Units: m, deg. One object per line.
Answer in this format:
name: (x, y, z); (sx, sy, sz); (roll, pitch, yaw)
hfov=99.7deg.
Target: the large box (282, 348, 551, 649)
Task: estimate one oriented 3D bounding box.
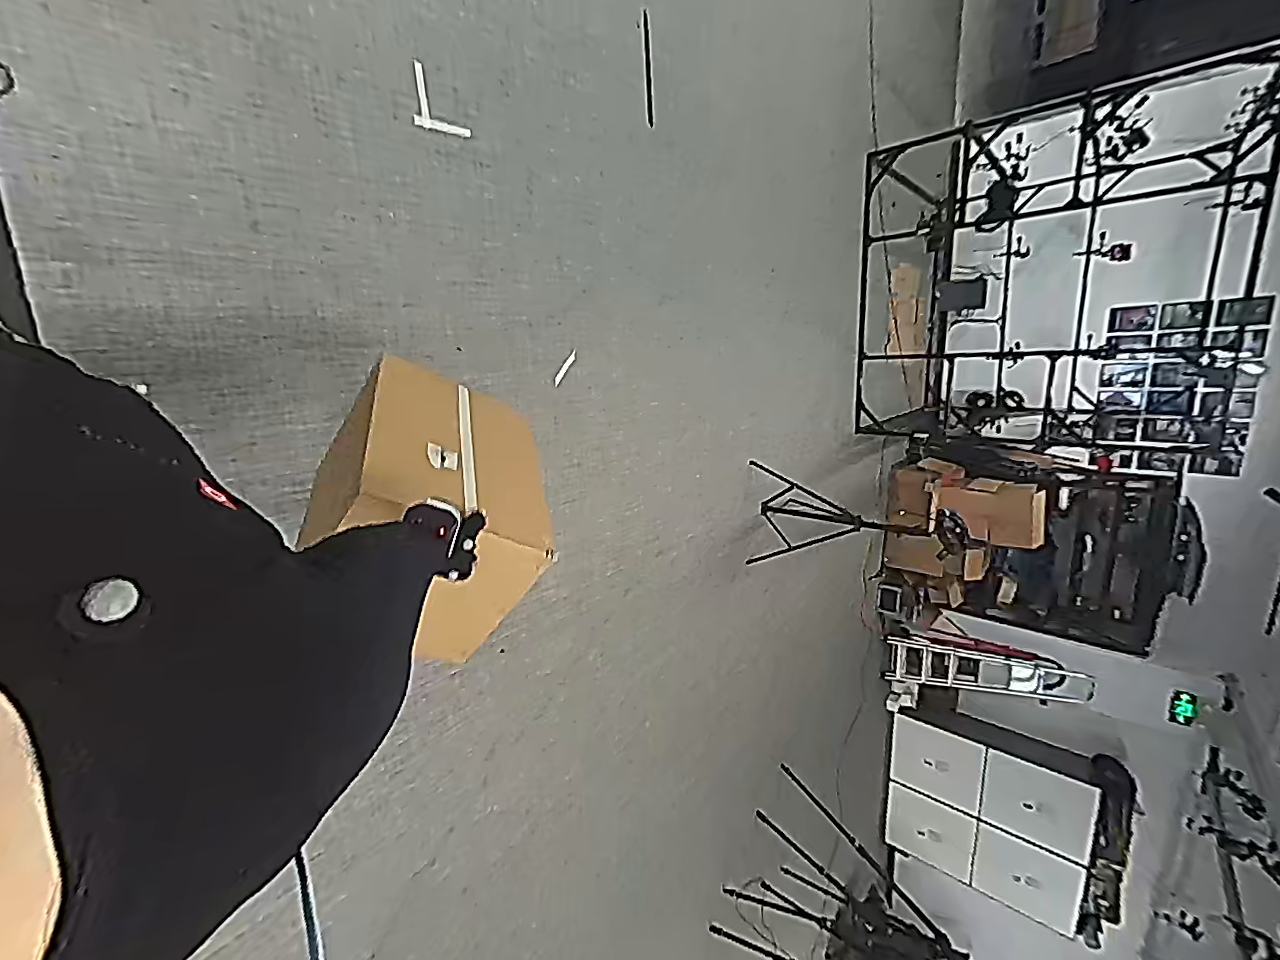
large box: (-0.408, 0.037, 0.997); (0.320, 0.408, 0.320); (23, 119, -37)
